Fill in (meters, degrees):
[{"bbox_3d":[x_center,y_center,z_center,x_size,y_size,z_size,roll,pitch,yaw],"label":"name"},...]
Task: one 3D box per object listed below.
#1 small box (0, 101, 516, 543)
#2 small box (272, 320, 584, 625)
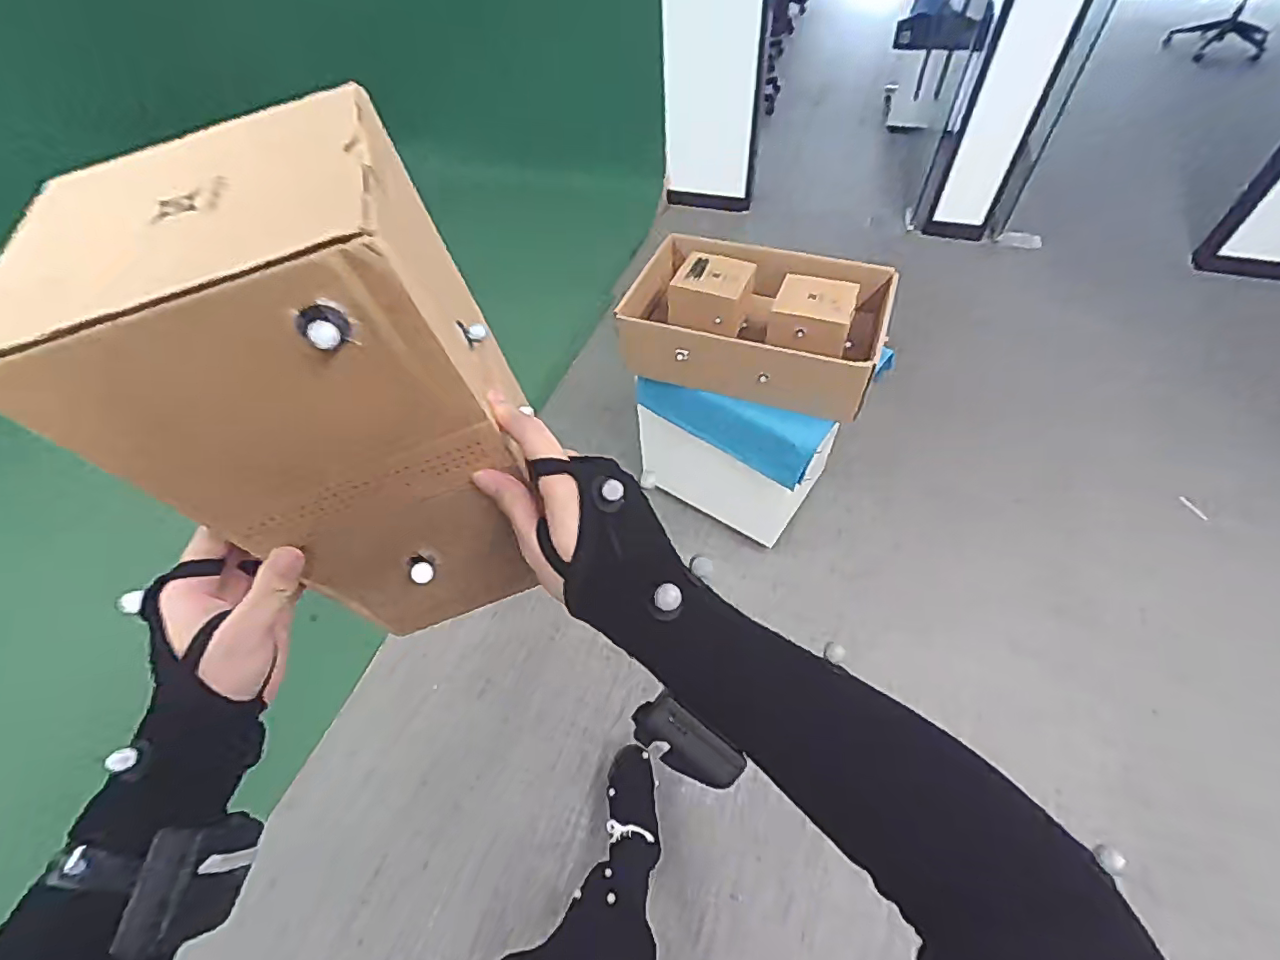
[{"bbox_3d":[-0.196,-0.086,0.330,0.179,0.176,0.168,-20,55,-4],"label":"small box"},{"bbox_3d":[-0.166,0.002,0.463,0.179,0.176,0.168,-20,55,-2],"label":"small box"}]
